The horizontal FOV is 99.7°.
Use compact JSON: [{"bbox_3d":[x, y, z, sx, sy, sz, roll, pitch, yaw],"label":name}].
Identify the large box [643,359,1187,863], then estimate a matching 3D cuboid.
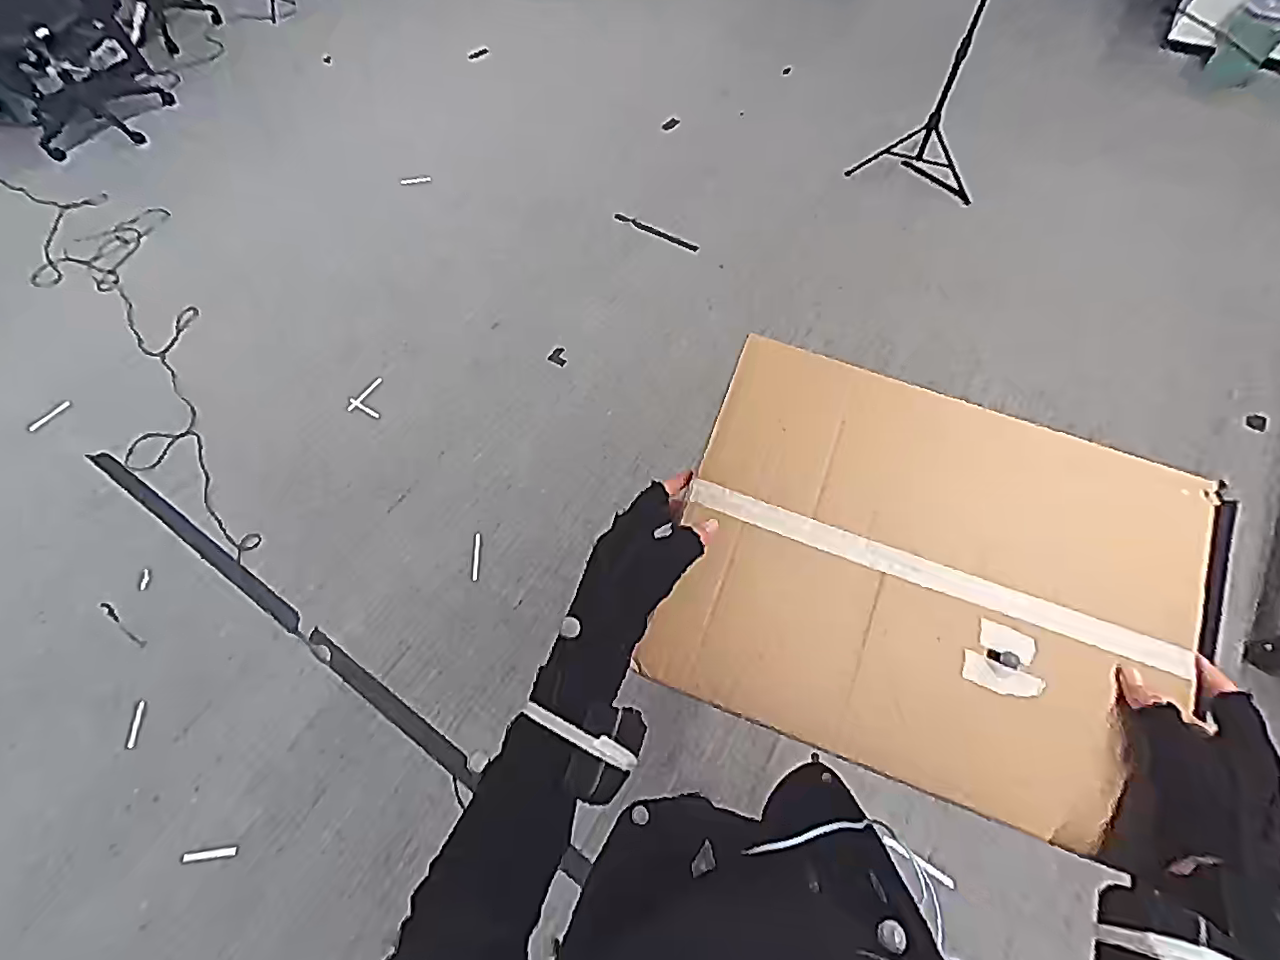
[{"bbox_3d":[0.239,0.121,0.600,0.408,0.320,0.320,20,78,6],"label":"large box"}]
